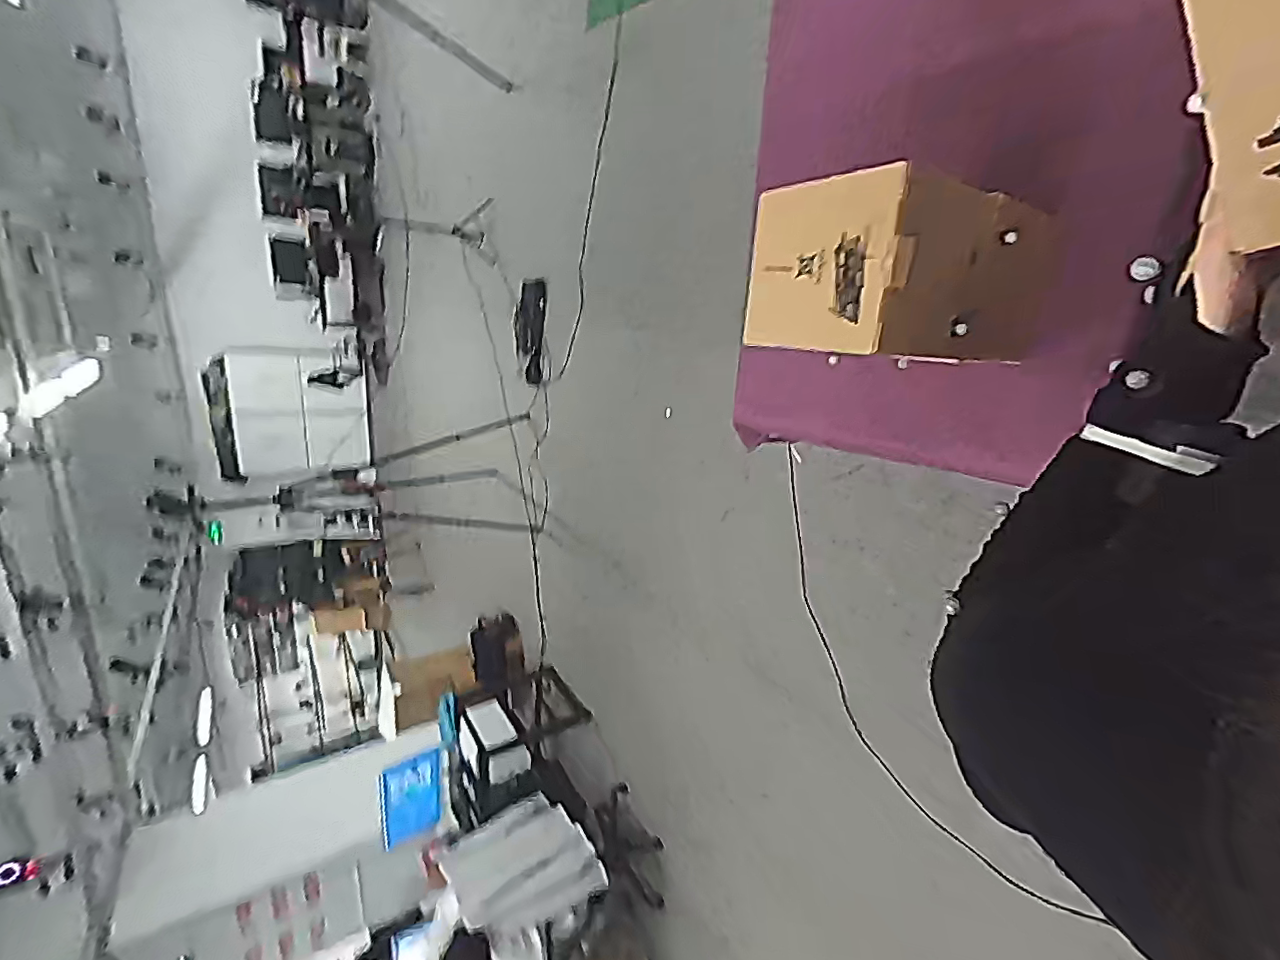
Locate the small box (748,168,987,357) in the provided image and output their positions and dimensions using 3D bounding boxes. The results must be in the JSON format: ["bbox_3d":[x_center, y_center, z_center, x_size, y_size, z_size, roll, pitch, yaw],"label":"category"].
[{"bbox_3d":[0.251,-0.230,0.610,0.179,0.176,0.168,26,116,54],"label":"small box"}]

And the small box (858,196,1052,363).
[{"bbox_3d":[0.389,-0.247,0.697,0.168,0.176,0.179,26,116,52],"label":"small box"}]
